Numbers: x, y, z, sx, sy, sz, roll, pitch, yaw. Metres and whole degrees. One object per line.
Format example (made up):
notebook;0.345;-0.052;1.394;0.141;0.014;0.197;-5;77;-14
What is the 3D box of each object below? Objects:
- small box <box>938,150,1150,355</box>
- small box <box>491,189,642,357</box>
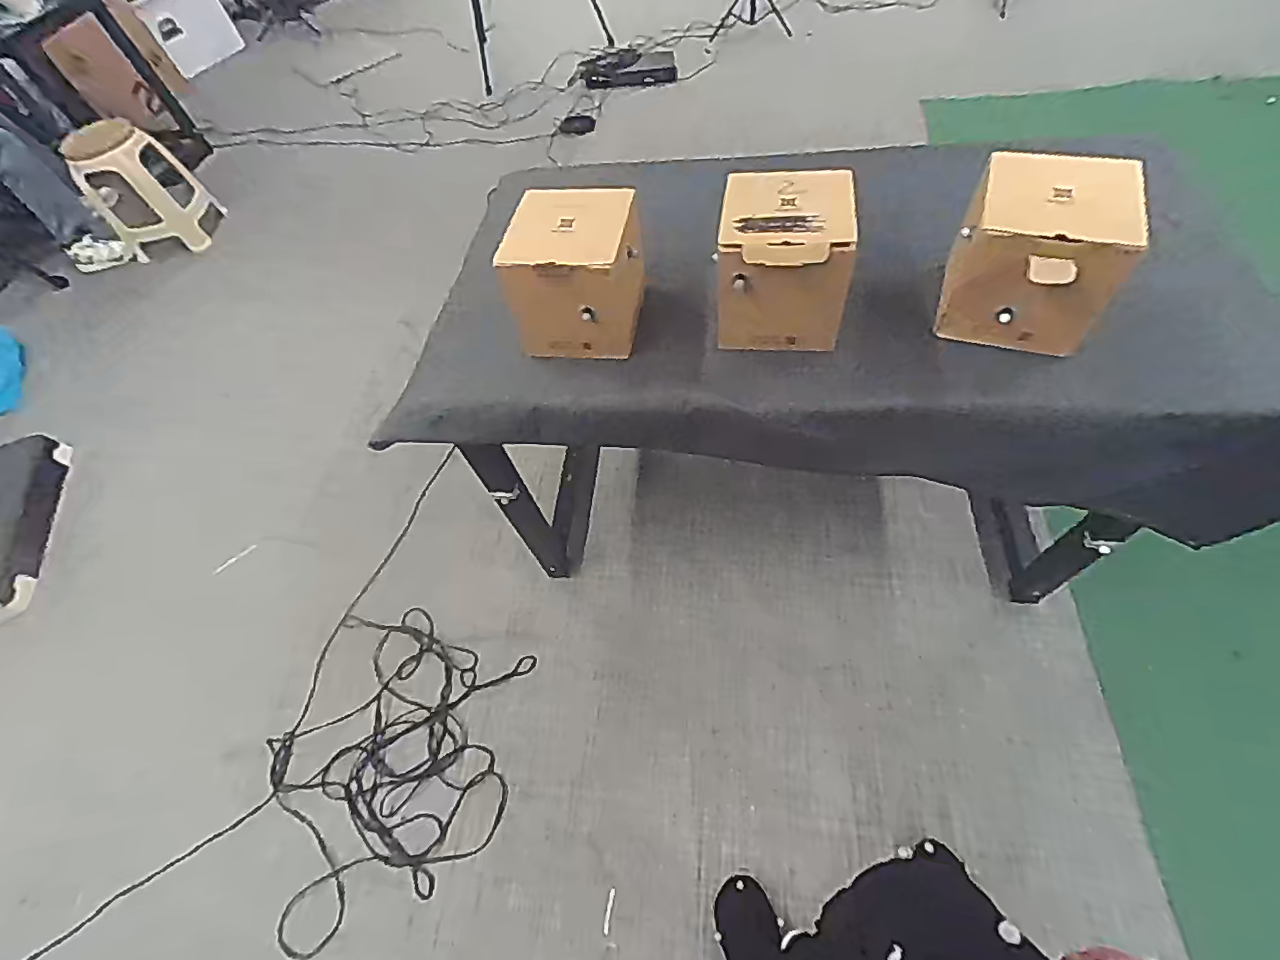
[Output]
small box;0.512;-0.296;0.708;0.168;0.176;0.179;15;61;17
small box;-0.094;-0.300;0.797;0.168;0.176;0.179;5;57;9
